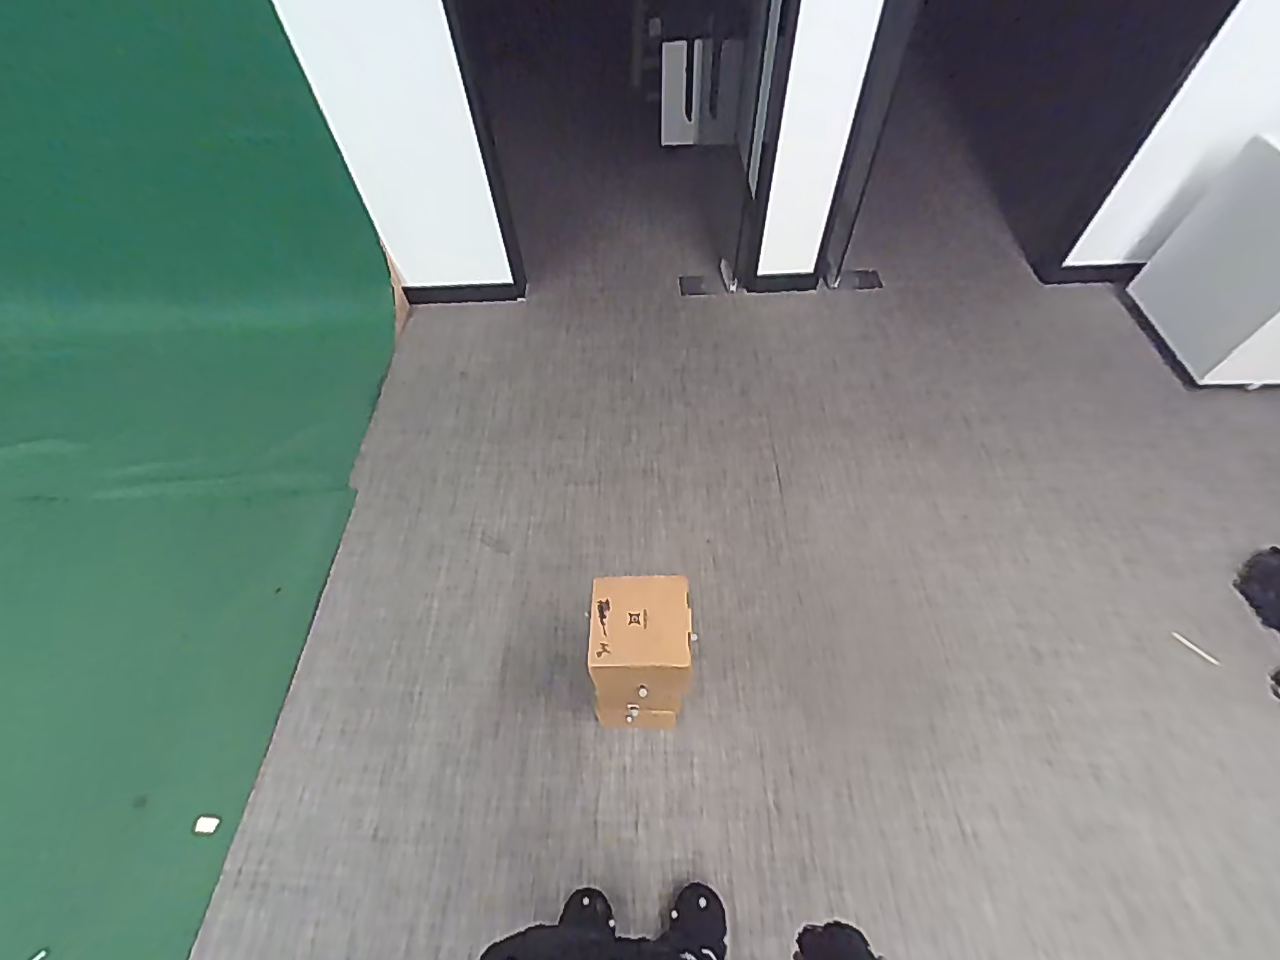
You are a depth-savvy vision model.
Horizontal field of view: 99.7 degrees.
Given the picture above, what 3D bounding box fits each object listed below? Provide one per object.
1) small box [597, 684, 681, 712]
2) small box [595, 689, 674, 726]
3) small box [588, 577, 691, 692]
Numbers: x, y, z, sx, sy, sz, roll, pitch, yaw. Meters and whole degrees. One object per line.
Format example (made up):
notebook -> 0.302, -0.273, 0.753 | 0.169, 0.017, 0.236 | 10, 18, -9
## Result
small box -> 0.002, 0.385, 1.158 | 0.168, 0.176, 0.179 | -1, 56, 3
small box -> -0.005, 0.481, 1.287 | 0.179, 0.176, 0.168 | 1, 55, 3
small box -> 0.004, 0.294, 1.021 | 0.179, 0.176, 0.168 | -1, 55, 3
